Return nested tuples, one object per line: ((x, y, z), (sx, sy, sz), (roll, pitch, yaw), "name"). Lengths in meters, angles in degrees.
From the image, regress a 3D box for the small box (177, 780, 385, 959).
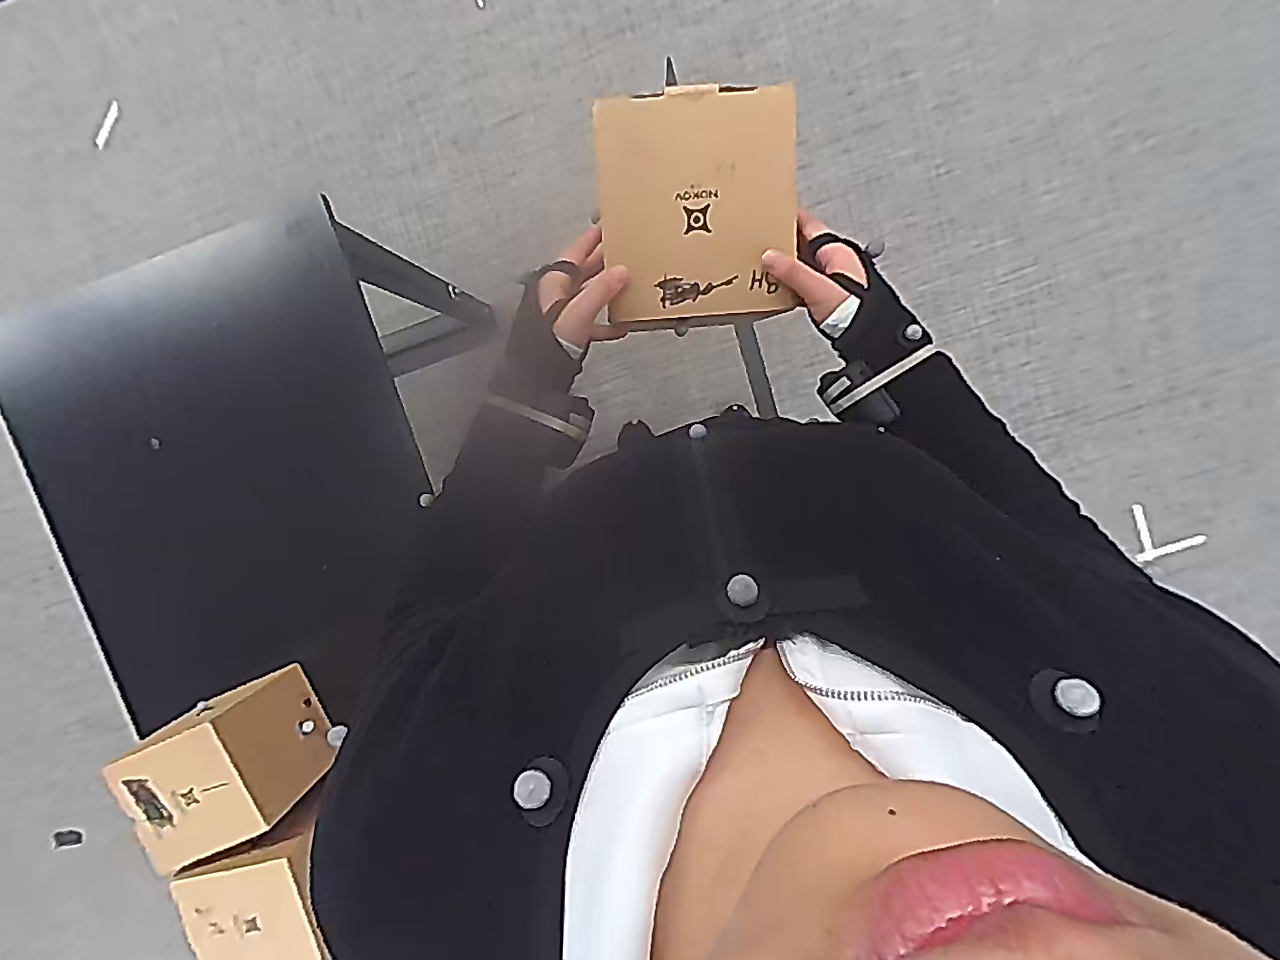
((-0.504, 0.574, 0.792), (0.179, 0.176, 0.168), (-15, 94, 6), "small box")

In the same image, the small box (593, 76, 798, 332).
((0.048, -0.247, 0.528), (0.168, 0.176, 0.179), (-5, 101, 2), "small box")
